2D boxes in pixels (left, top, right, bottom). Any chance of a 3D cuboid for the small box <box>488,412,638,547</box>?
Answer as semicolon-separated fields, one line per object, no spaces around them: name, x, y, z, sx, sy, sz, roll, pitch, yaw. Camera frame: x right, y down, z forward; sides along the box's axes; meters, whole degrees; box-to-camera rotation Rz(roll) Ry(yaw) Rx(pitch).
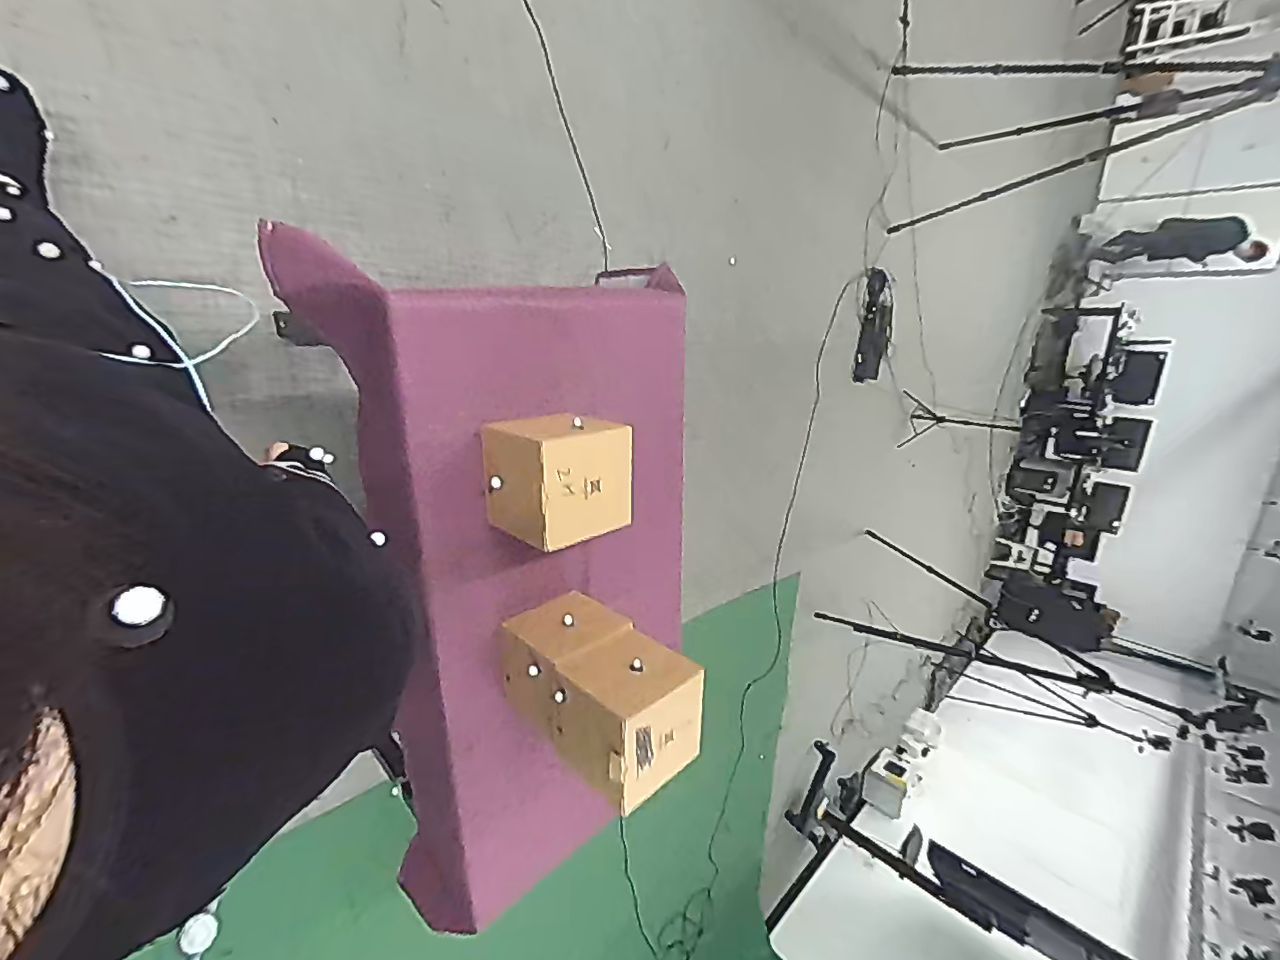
small box;-0.123;-0.013;0.875;0.179;0.176;0.168;-15;112;-42

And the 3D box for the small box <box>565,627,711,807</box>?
small box;-0.008;0.363;0.866;0.179;0.176;0.168;-15;113;-44
